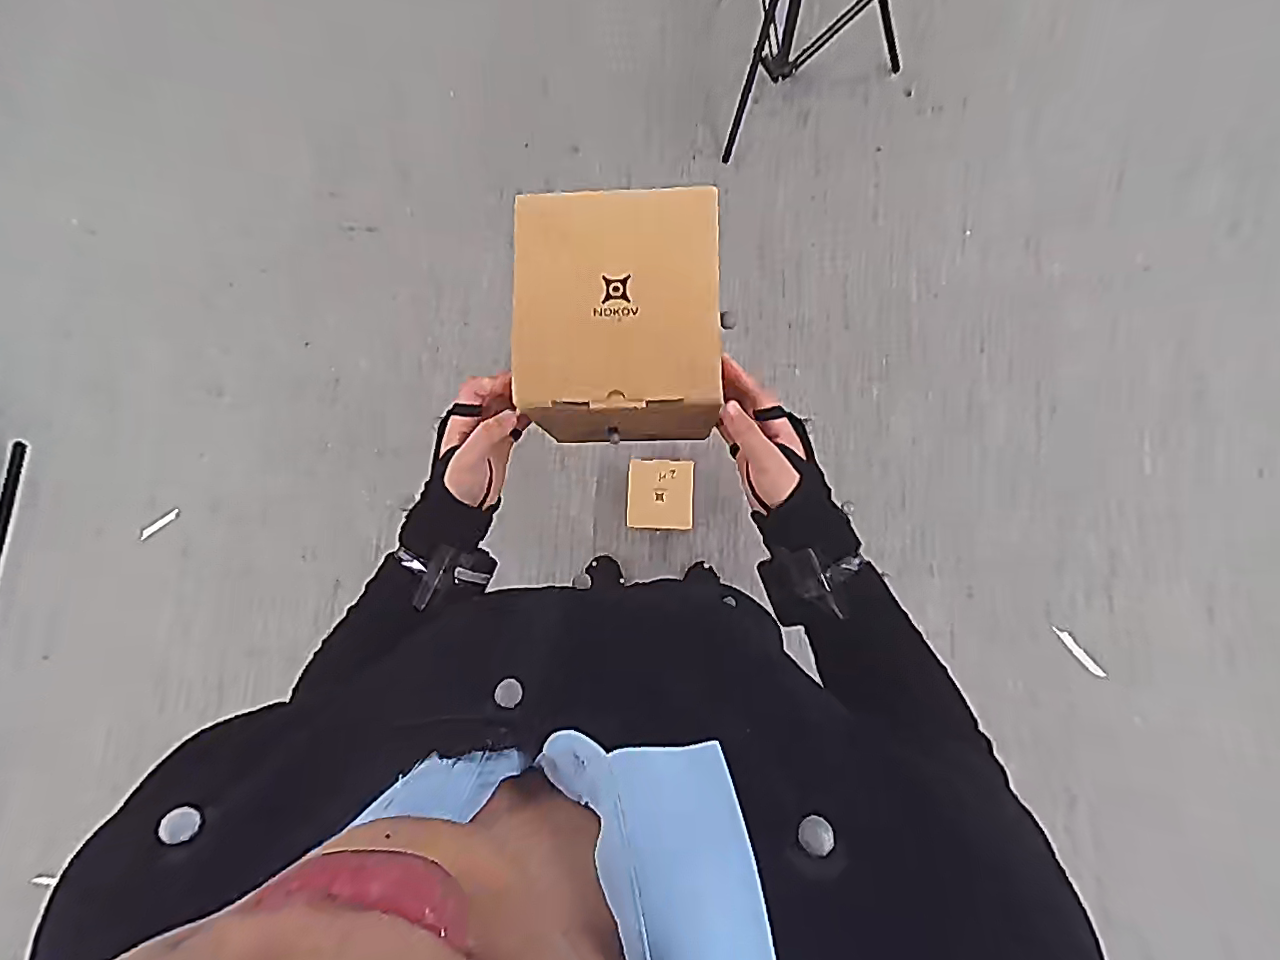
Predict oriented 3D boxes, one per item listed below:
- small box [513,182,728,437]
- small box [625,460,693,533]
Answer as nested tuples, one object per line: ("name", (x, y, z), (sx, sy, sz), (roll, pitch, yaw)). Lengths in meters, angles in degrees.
("small box", (-0.012, -0.138, 0.494), (0.168, 0.176, 0.179), (-1, 86, 4))
("small box", (0.054, 0.049, 1.436), (0.168, 0.176, 0.179), (2, 82, 4))
